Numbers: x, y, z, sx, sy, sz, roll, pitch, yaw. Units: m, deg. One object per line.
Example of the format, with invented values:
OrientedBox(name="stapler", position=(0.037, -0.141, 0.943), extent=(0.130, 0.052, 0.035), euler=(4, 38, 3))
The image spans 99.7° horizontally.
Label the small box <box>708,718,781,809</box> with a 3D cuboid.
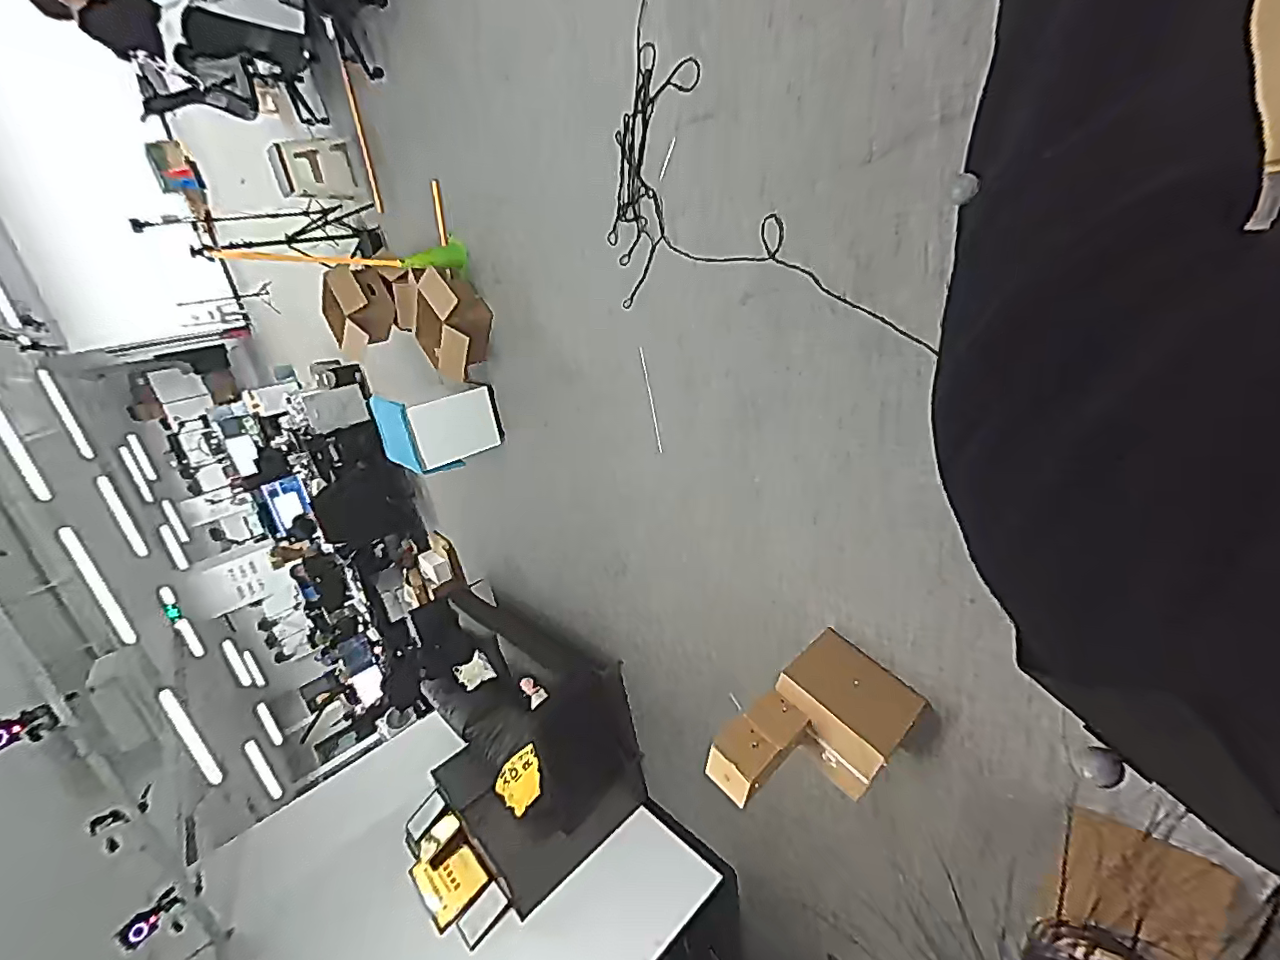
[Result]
OrientedBox(name="small box", position=(0.352, 0.946, 1.812), extent=(0.168, 0.176, 0.179), euler=(33, 134, 37))
